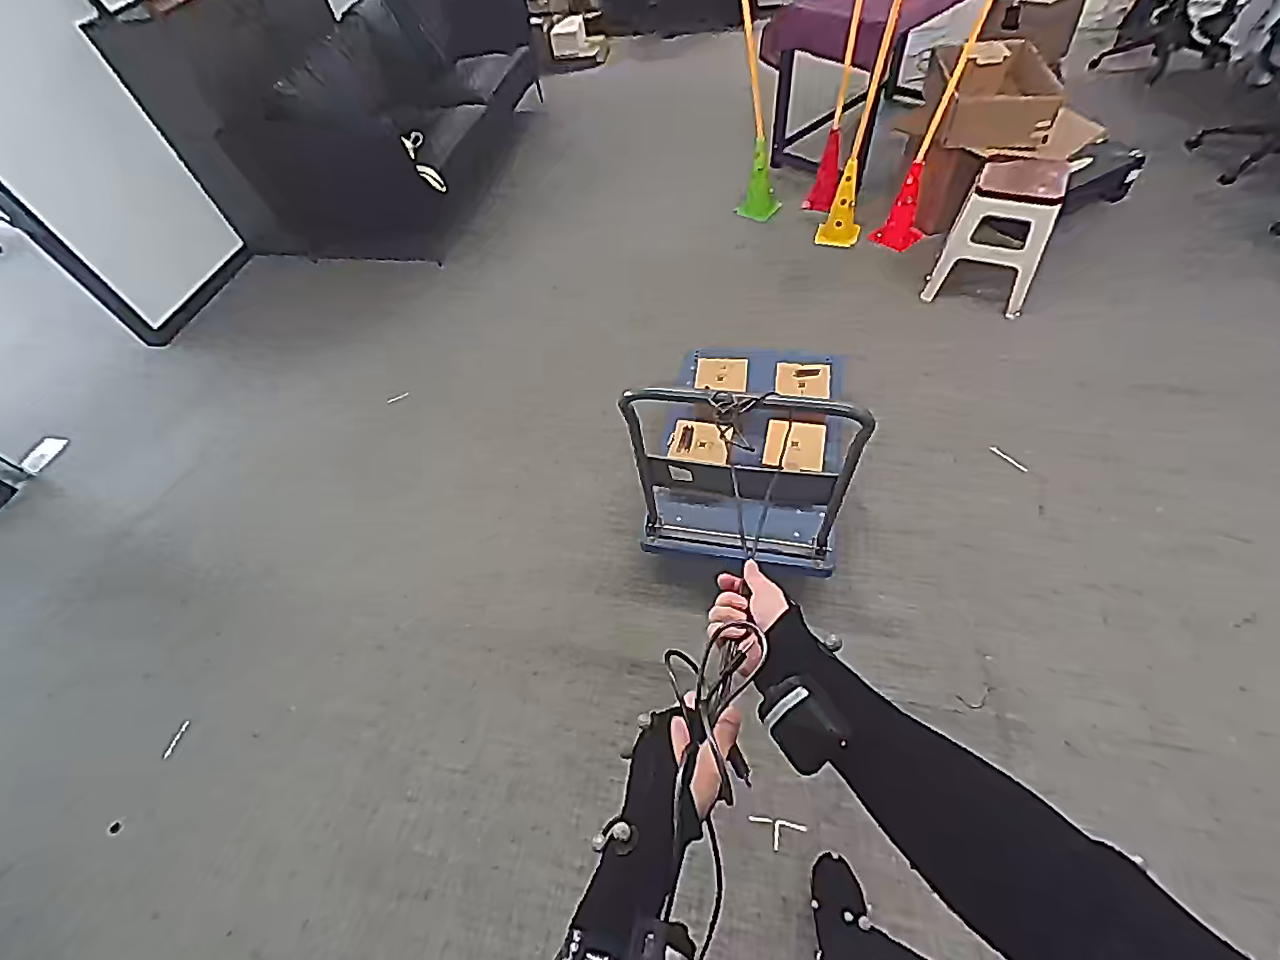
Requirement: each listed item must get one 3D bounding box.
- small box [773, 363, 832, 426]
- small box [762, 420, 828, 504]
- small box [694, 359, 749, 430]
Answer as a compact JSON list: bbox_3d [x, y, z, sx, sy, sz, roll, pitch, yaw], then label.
[{"bbox_3d":[0.524,-0.255,1.753,0.168,0.176,0.179,5,57,13],"label":"small box"},{"bbox_3d":[0.461,-0.053,1.624,0.168,0.176,0.179,8,58,15],"label":"small box"},{"bbox_3d":[0.277,-0.284,1.813,0.168,0.176,0.179,4,56,11],"label":"small box"}]
